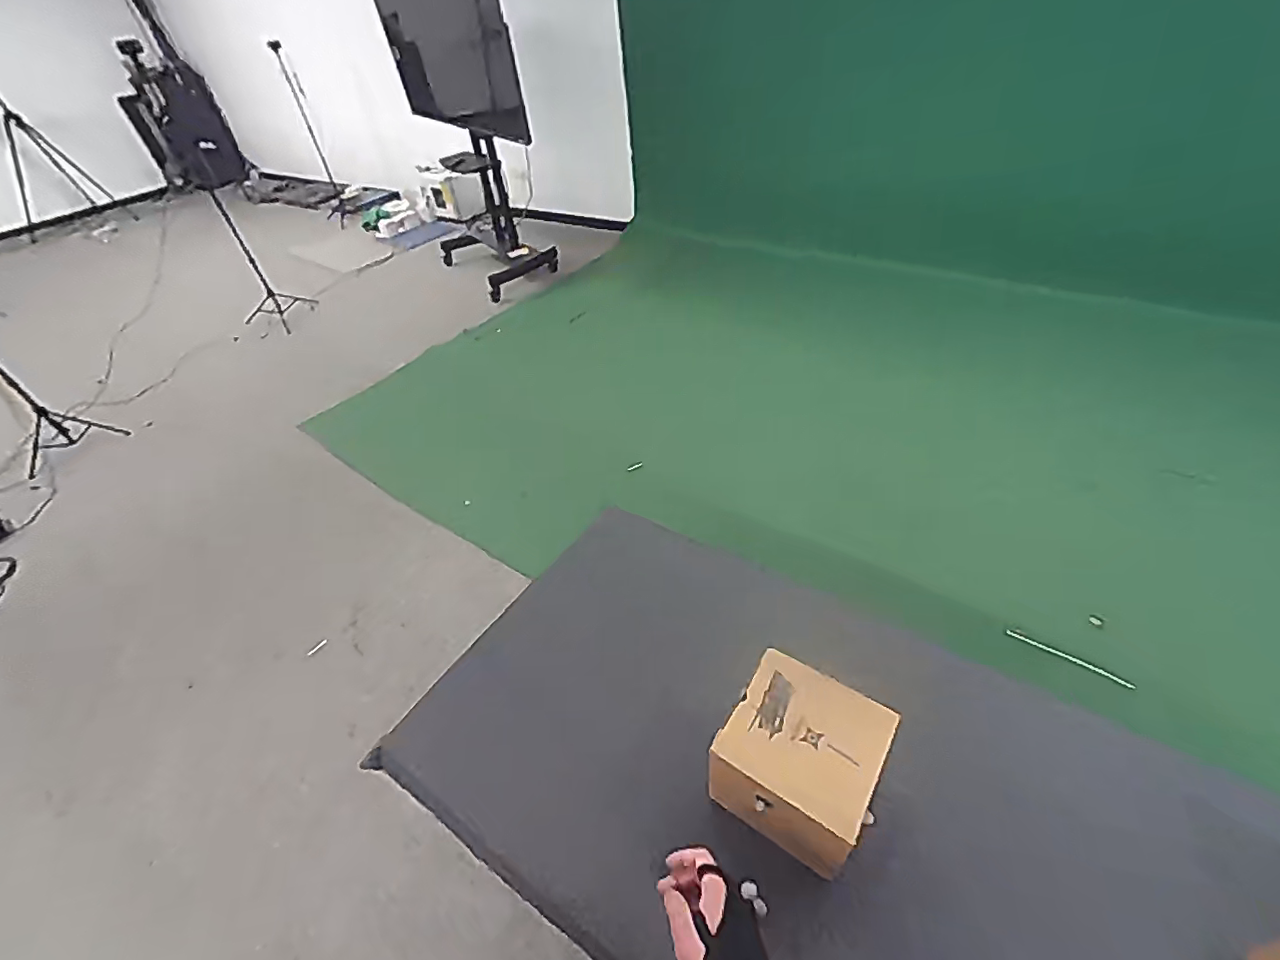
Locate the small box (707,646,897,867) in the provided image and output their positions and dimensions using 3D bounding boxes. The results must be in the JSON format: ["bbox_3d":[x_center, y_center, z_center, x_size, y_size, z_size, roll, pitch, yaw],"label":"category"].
[{"bbox_3d":[0.201,0.358,0.701,0.179,0.176,0.168,24,51,28],"label":"small box"}]
